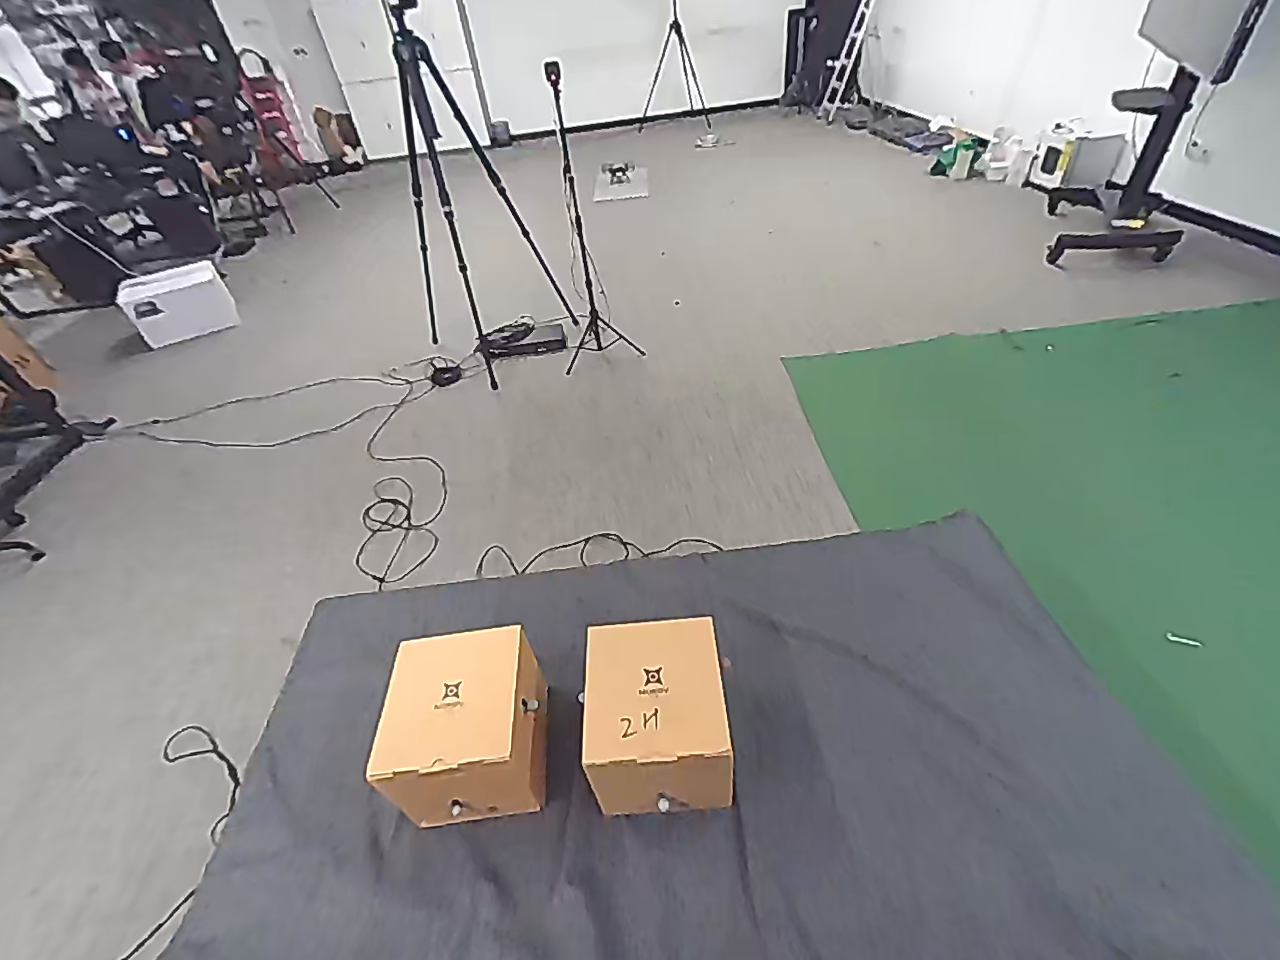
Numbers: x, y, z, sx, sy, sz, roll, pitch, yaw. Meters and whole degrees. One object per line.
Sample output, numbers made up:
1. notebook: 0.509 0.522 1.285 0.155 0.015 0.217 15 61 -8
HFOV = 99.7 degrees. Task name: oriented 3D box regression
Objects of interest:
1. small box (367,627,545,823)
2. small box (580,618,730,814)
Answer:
1. small box: -0.225 0.323 0.716 0.168 0.176 0.179 -8 42 -1
2. small box: 0.021 0.303 0.698 0.168 0.176 0.179 -5 42 3
